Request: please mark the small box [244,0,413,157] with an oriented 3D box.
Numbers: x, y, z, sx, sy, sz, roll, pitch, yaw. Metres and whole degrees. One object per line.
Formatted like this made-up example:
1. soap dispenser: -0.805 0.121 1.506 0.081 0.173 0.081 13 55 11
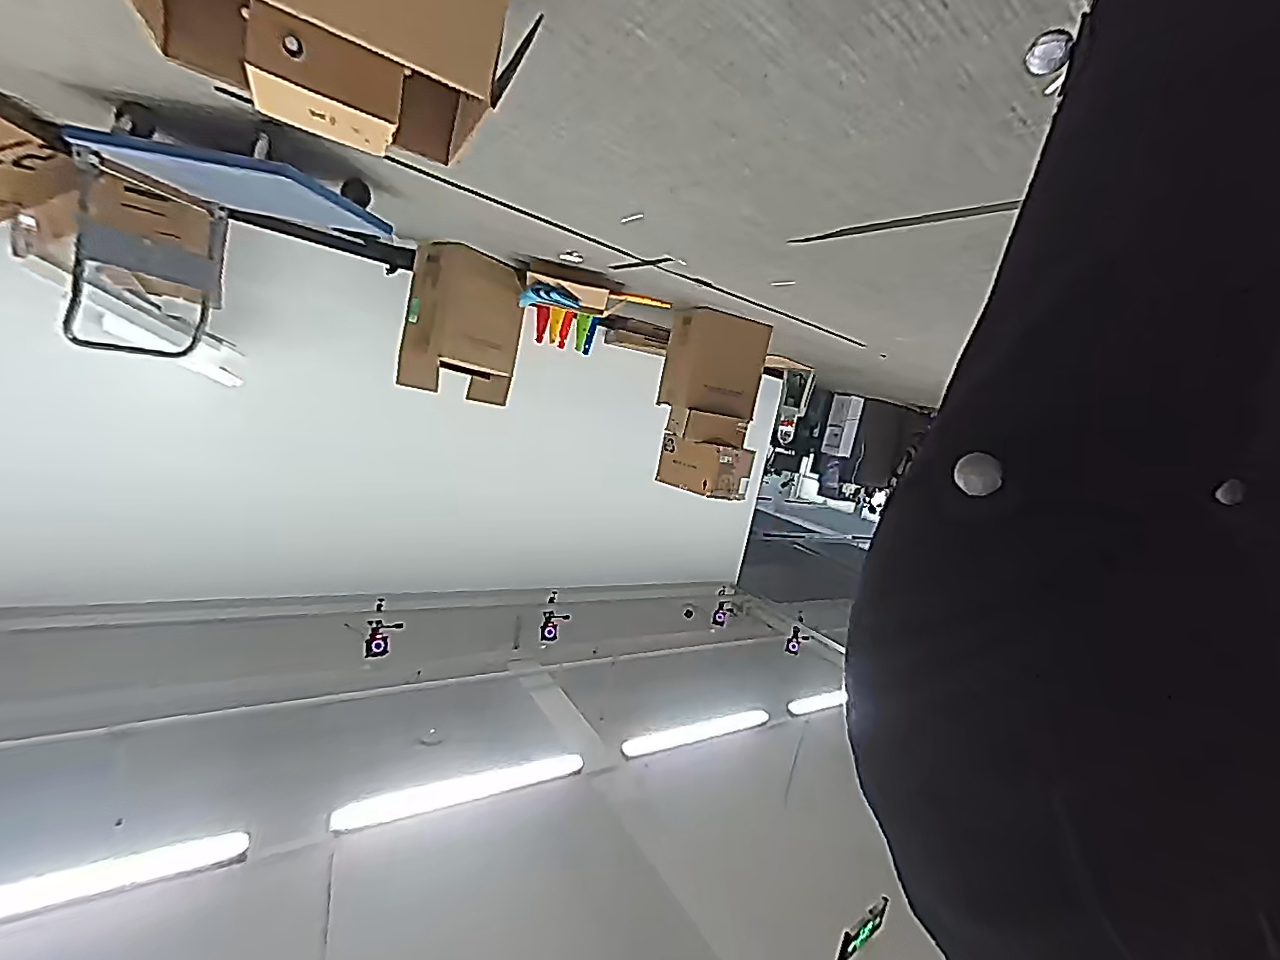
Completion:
1. small box: -0.435 -0.599 0.761 0.179 0.176 0.168 6 -170 -33
